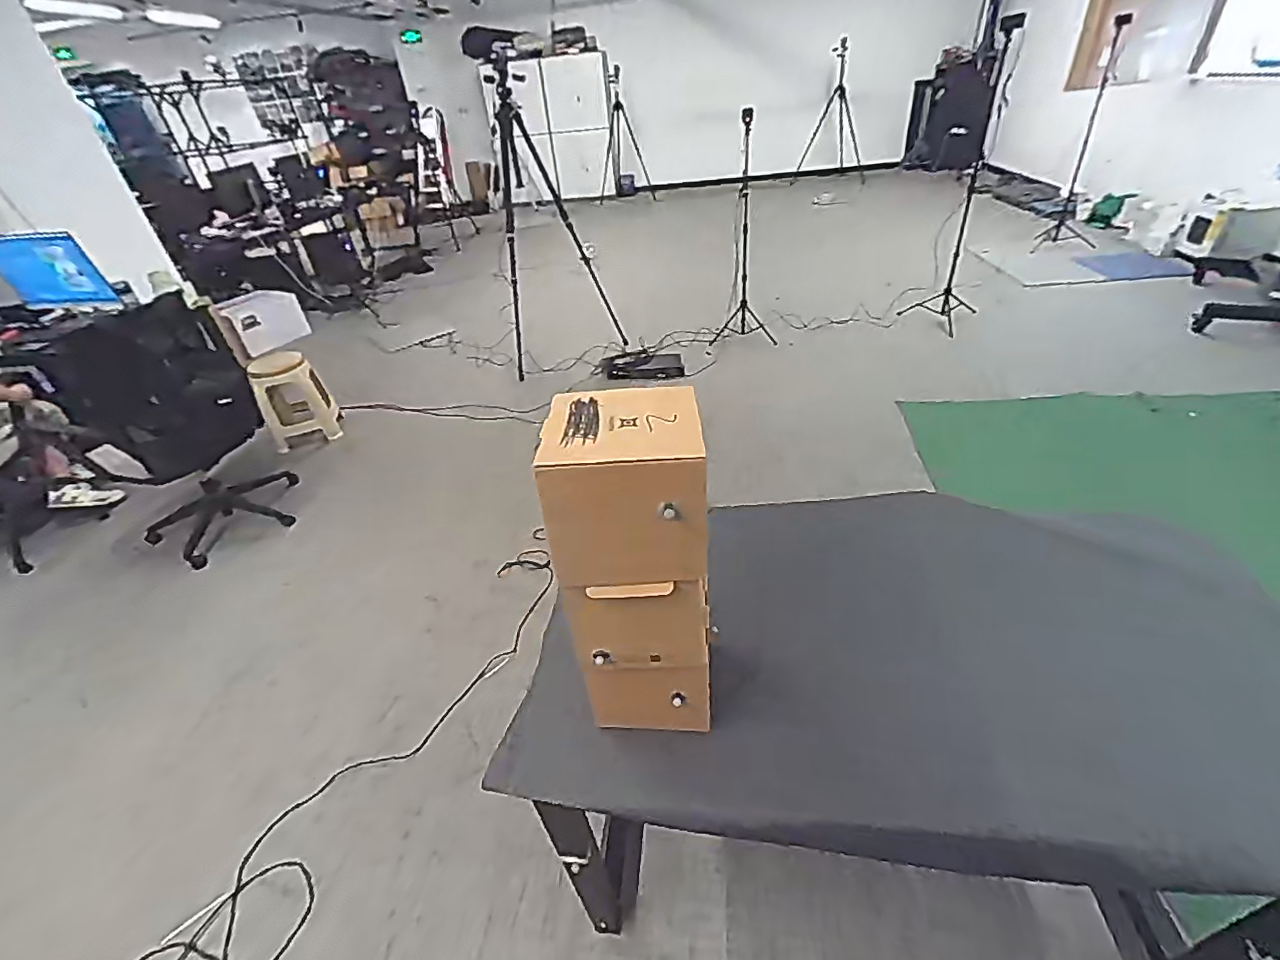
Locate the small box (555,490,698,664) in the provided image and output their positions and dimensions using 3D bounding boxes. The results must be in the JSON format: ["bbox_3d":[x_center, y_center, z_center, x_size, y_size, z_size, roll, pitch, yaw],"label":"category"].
[{"bbox_3d":[-0.010,0.136,0.741,0.168,0.176,0.179,-4,34,4],"label":"small box"}]

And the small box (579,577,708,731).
[{"bbox_3d":[0.017,0.268,0.836,0.179,0.176,0.168,-3,35,8],"label":"small box"}]
